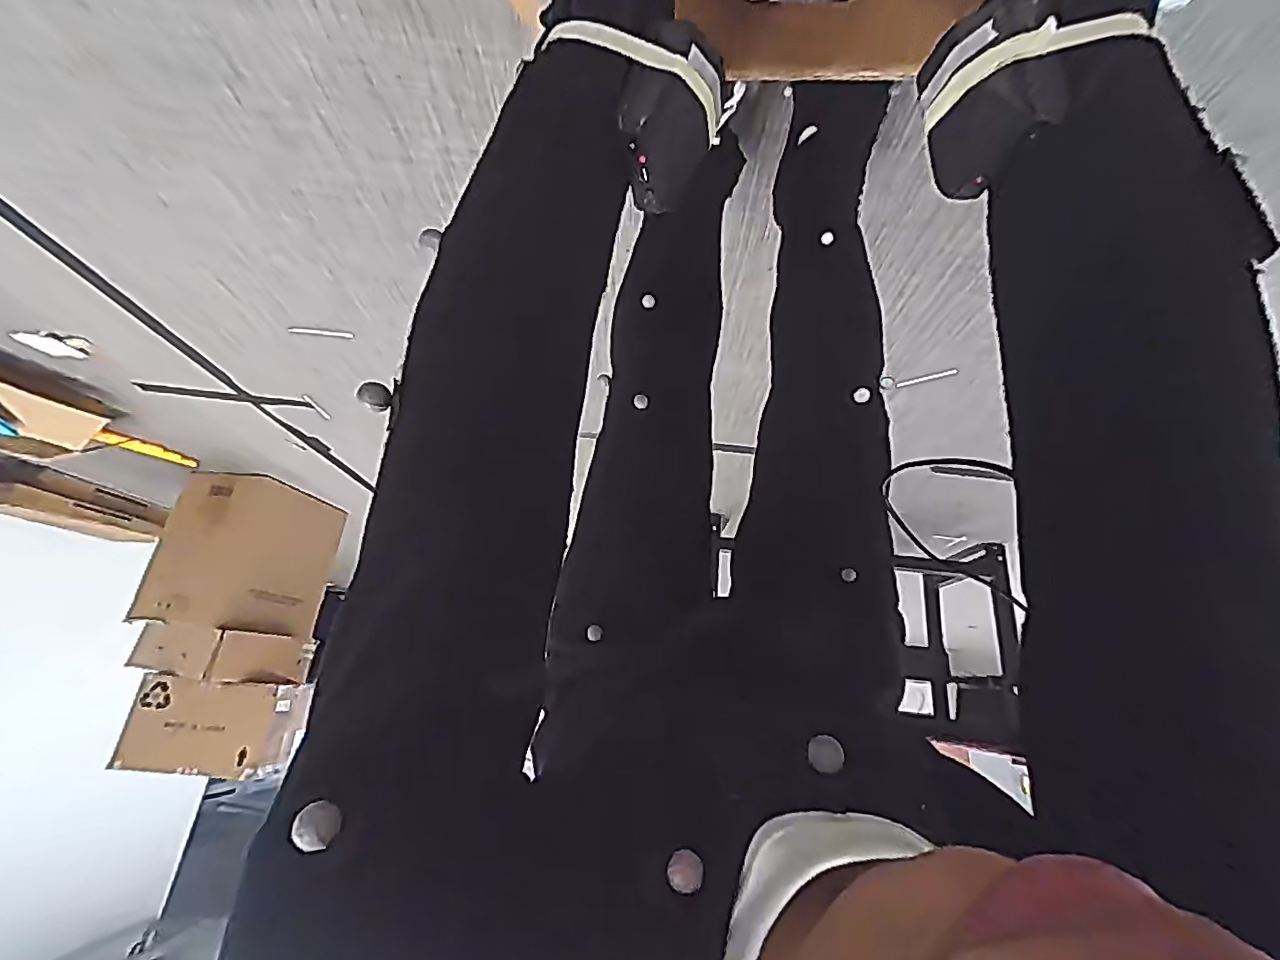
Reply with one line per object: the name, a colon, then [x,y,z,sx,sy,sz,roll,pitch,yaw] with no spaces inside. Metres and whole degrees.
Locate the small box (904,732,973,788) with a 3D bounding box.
small box: [1.137,1.071,2.077,0.168,0.176,0.179,8,158,-4]
